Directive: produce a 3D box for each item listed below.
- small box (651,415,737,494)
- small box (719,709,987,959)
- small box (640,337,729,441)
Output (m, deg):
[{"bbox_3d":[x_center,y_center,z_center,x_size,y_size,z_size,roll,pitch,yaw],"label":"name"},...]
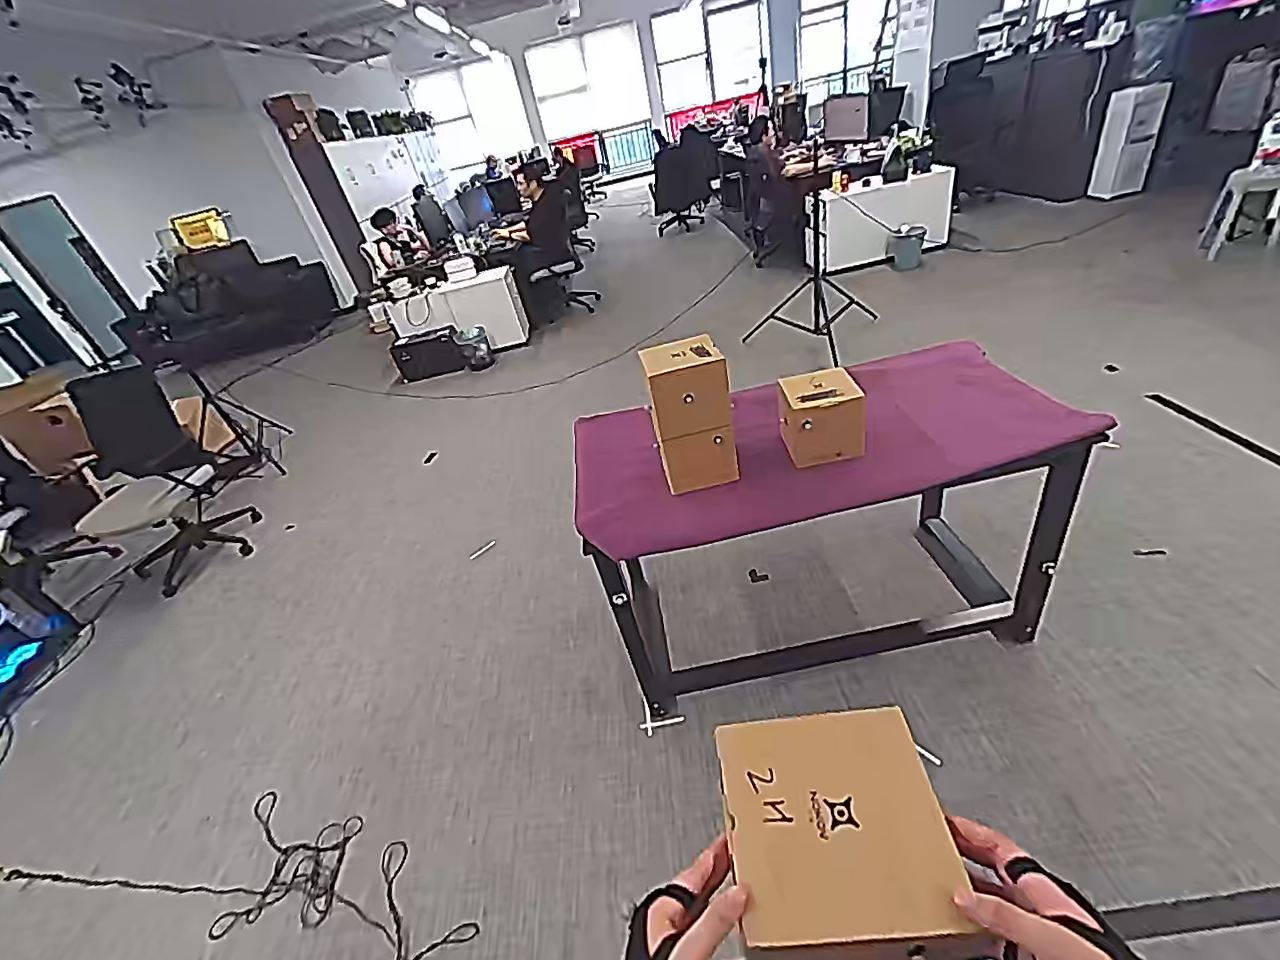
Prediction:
[{"bbox_3d":[0.138,-0.085,1.377,0.179,0.176,0.168,-14,34,0],"label":"small box"},{"bbox_3d":[0.174,0.337,0.500,0.179,0.176,0.168,-9,39,6],"label":"small box"},{"bbox_3d":[0.107,-0.215,1.281,0.179,0.176,0.168,-14,34,0],"label":"small box"}]
